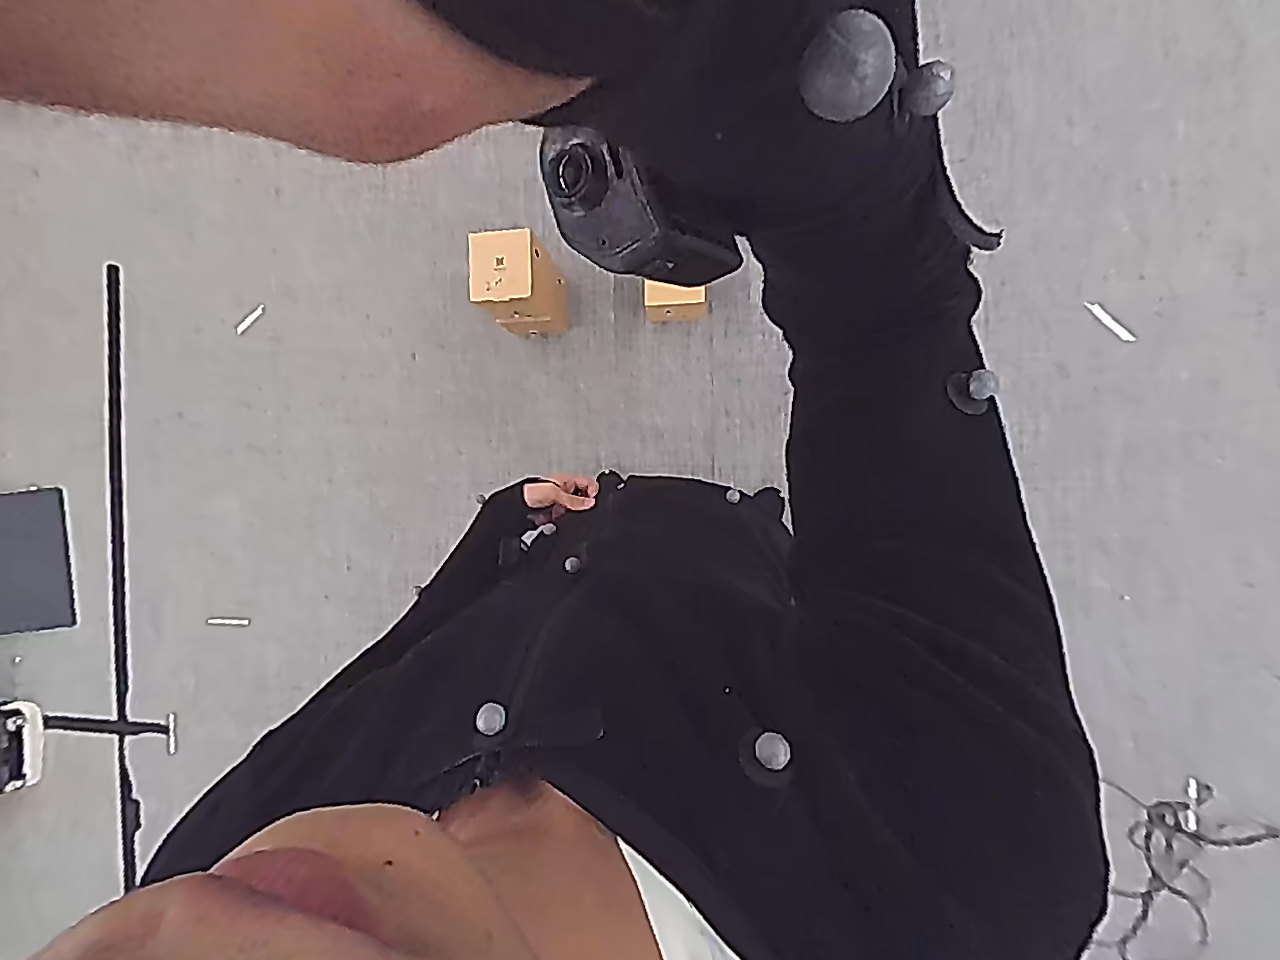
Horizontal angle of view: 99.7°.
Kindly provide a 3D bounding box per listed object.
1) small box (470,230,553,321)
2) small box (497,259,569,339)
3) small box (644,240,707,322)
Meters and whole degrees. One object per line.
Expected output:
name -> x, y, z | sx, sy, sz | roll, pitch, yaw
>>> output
small box -> -0.333, -0.531, 1.424 | 0.168, 0.176, 0.179 | -1, 91, 9
small box -> -0.311, -0.525, 1.586 | 0.168, 0.176, 0.179 | -1, 91, 9
small box -> 0.104, -0.555, 1.533 | 0.168, 0.176, 0.179 | -2, 90, 7
